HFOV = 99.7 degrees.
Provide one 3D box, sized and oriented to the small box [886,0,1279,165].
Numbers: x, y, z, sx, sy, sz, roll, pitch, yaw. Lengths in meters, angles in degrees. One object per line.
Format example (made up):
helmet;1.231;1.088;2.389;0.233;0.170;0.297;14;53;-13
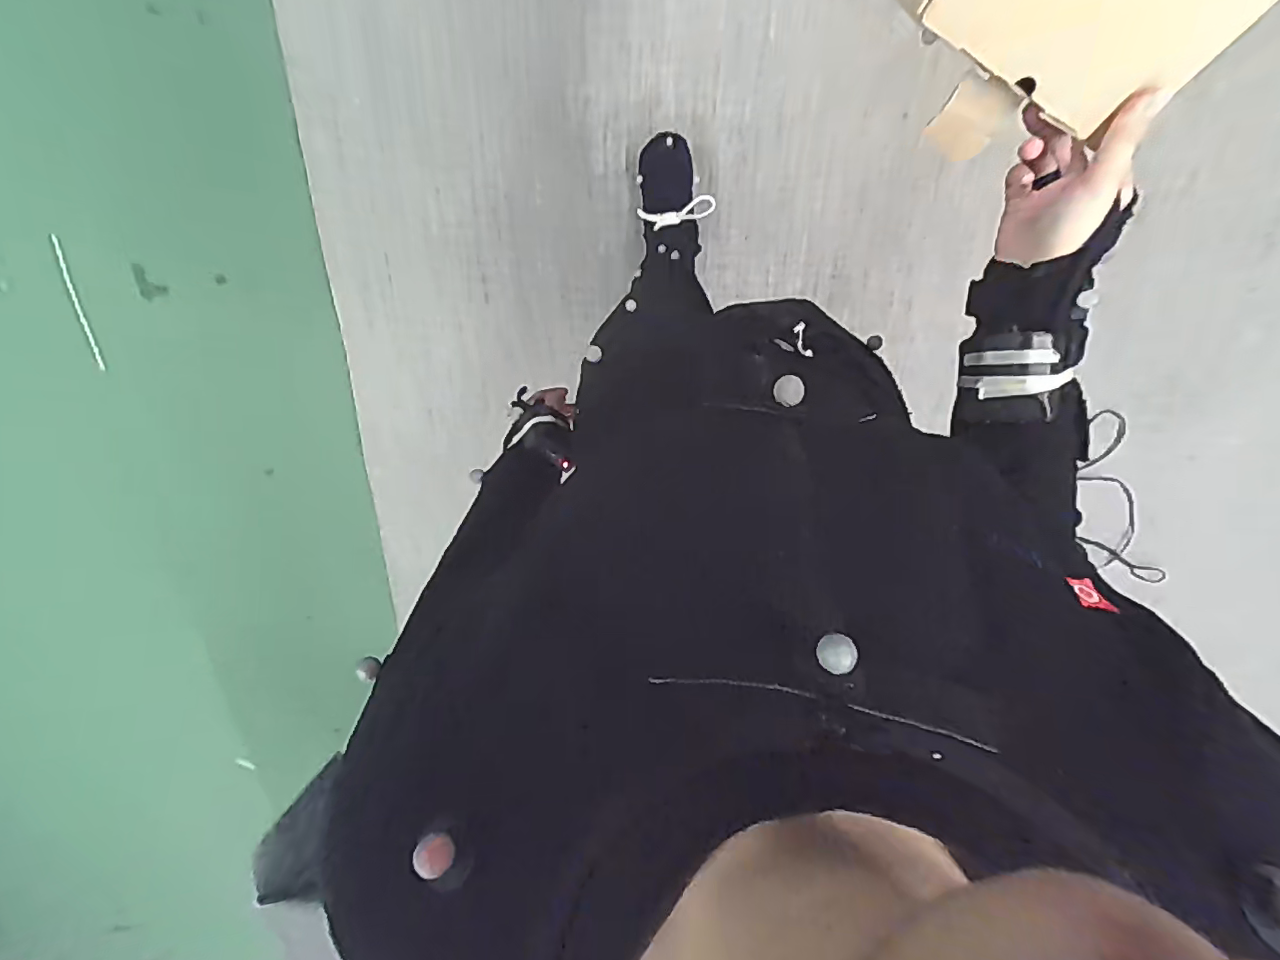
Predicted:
small box;0.256;-0.333;0.304;0.168;0.176;0.179;15;142;-20
